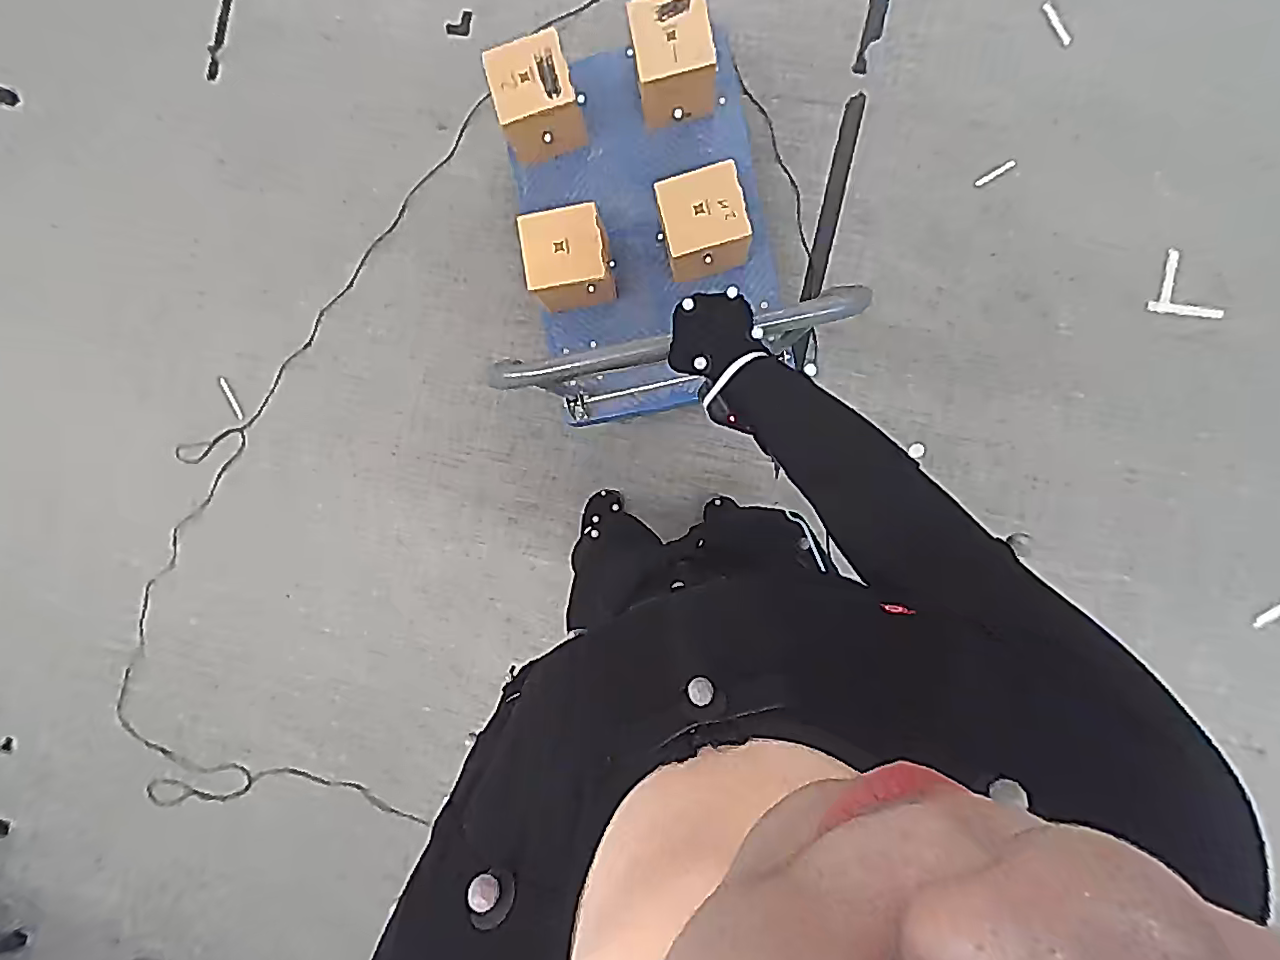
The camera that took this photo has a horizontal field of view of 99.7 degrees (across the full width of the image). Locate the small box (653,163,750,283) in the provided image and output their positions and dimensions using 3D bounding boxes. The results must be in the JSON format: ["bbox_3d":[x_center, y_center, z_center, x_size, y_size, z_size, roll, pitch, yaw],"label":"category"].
[{"bbox_3d":[0.138,-0.564,1.213,0.179,0.176,0.168,-14,90,6],"label":"small box"}]

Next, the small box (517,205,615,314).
[{"bbox_3d":[-0.163,-0.496,1.243,0.179,0.176,0.168,-9,90,4],"label":"small box"}]

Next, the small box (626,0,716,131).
[{"bbox_3d":[0.070,-0.933,1.212,0.168,0.176,0.179,-11,91,6],"label":"small box"}]
